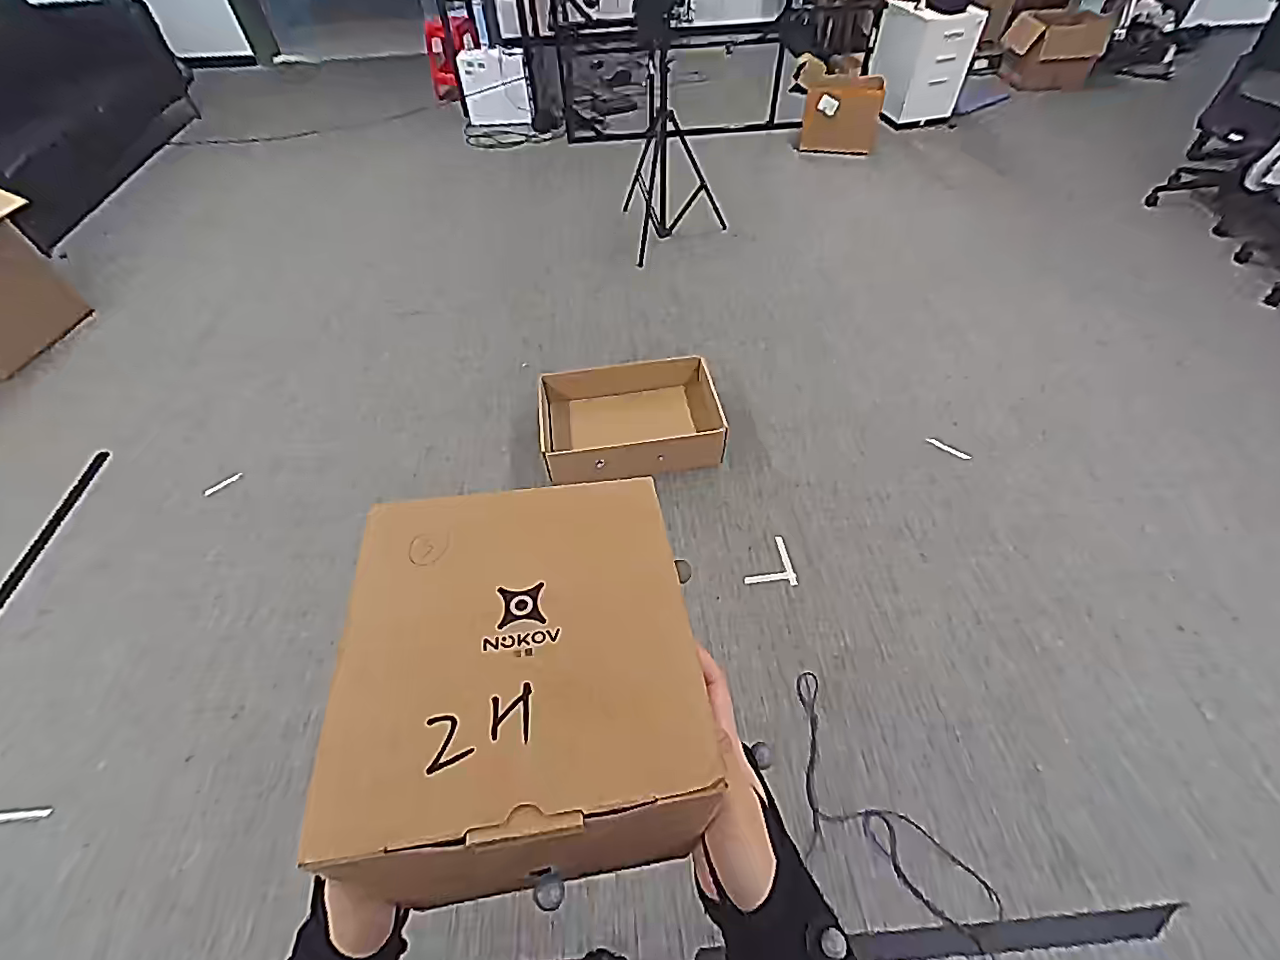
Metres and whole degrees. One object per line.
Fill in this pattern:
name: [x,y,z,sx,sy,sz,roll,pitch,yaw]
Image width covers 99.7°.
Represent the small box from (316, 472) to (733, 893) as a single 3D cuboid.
small box: [-0.058,0.119,0.326,0.168,0.176,0.179,-6,48,-8]
